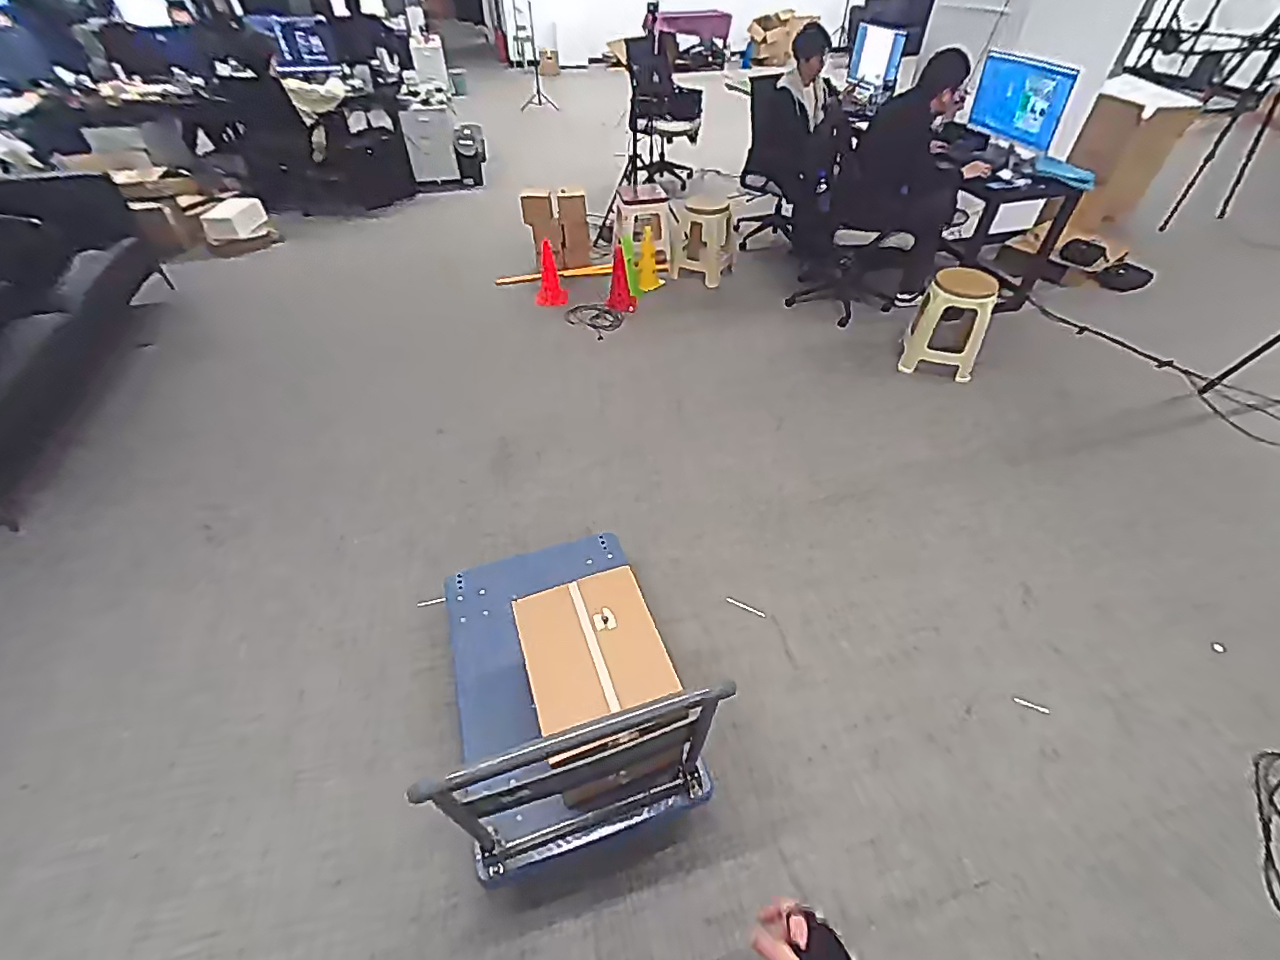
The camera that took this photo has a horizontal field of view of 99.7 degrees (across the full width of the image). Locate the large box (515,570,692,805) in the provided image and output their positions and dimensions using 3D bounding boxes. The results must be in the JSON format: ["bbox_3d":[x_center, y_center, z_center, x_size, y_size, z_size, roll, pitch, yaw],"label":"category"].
[{"bbox_3d":[-0.095,0.509,1.355,0.320,0.320,0.408,-15,46,-14],"label":"large box"}]
